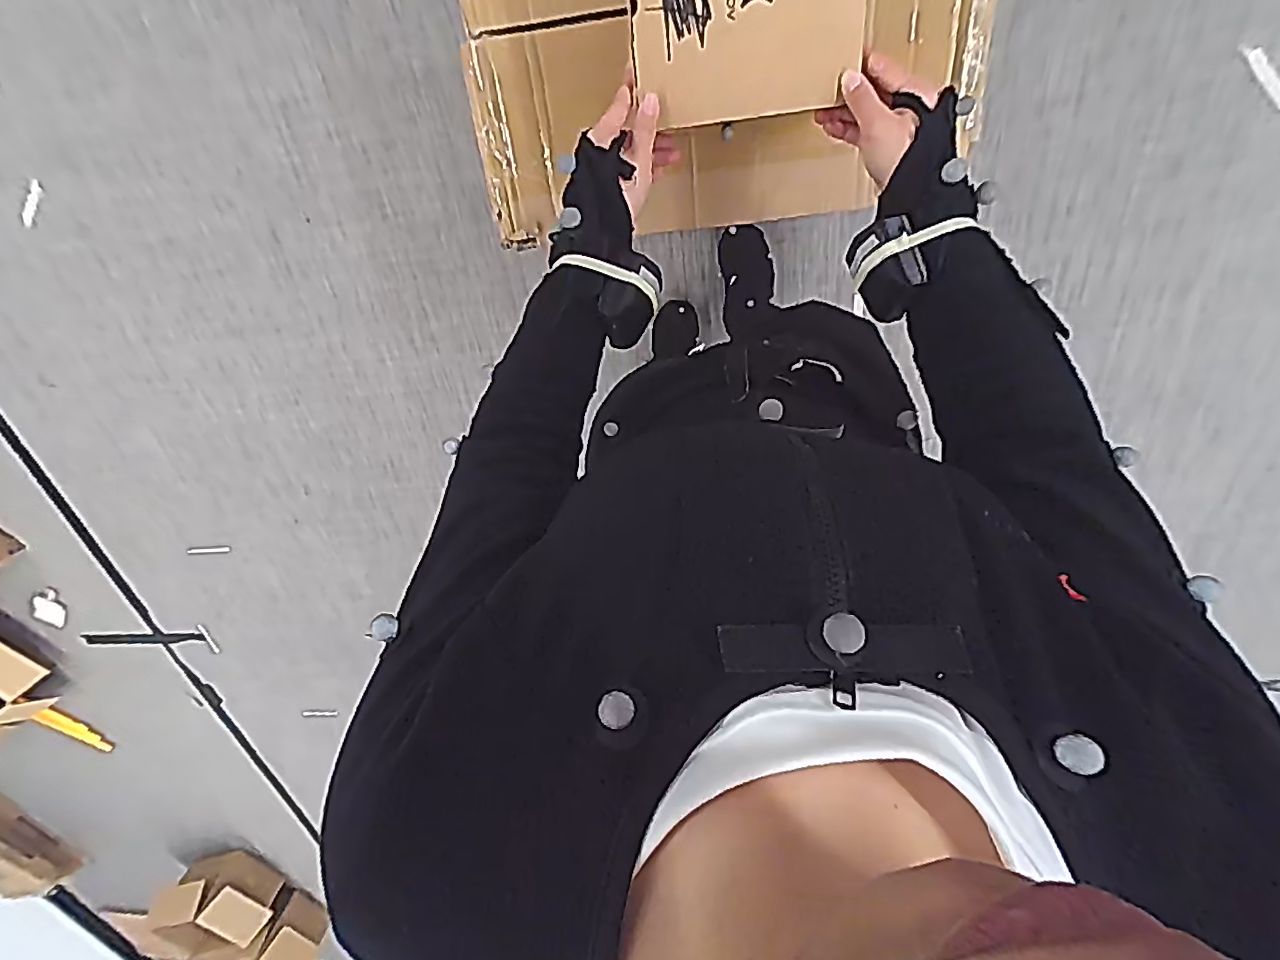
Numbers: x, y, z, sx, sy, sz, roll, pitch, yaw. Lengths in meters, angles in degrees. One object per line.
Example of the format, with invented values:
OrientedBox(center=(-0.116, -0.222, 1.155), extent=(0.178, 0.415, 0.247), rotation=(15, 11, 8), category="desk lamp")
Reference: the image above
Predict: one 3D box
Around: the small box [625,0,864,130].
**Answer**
OrientedBox(center=(0.081, -0.405, 0.457), extent=(0.179, 0.176, 0.168), rotation=(-3, 121, 7), category="small box")
